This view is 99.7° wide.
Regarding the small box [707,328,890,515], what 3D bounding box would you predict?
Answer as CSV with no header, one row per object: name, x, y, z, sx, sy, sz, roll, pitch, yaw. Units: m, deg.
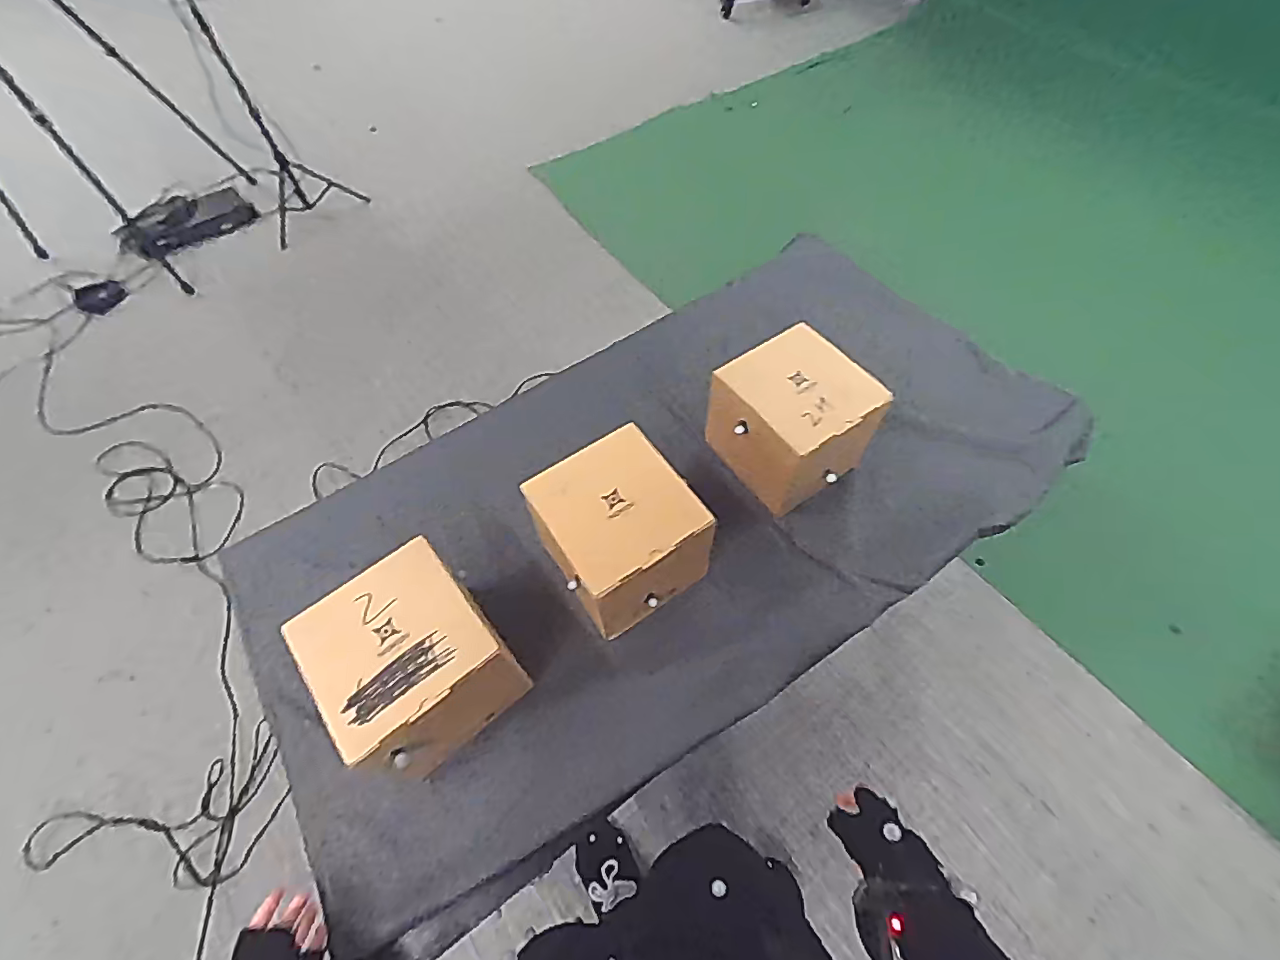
small box,0.215,-0.082,0.790,0.168,0.176,0.179,-31,63,-16

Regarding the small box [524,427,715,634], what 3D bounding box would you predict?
small box,-0.027,0.070,0.704,0.168,0.176,0.179,-31,64,-17
